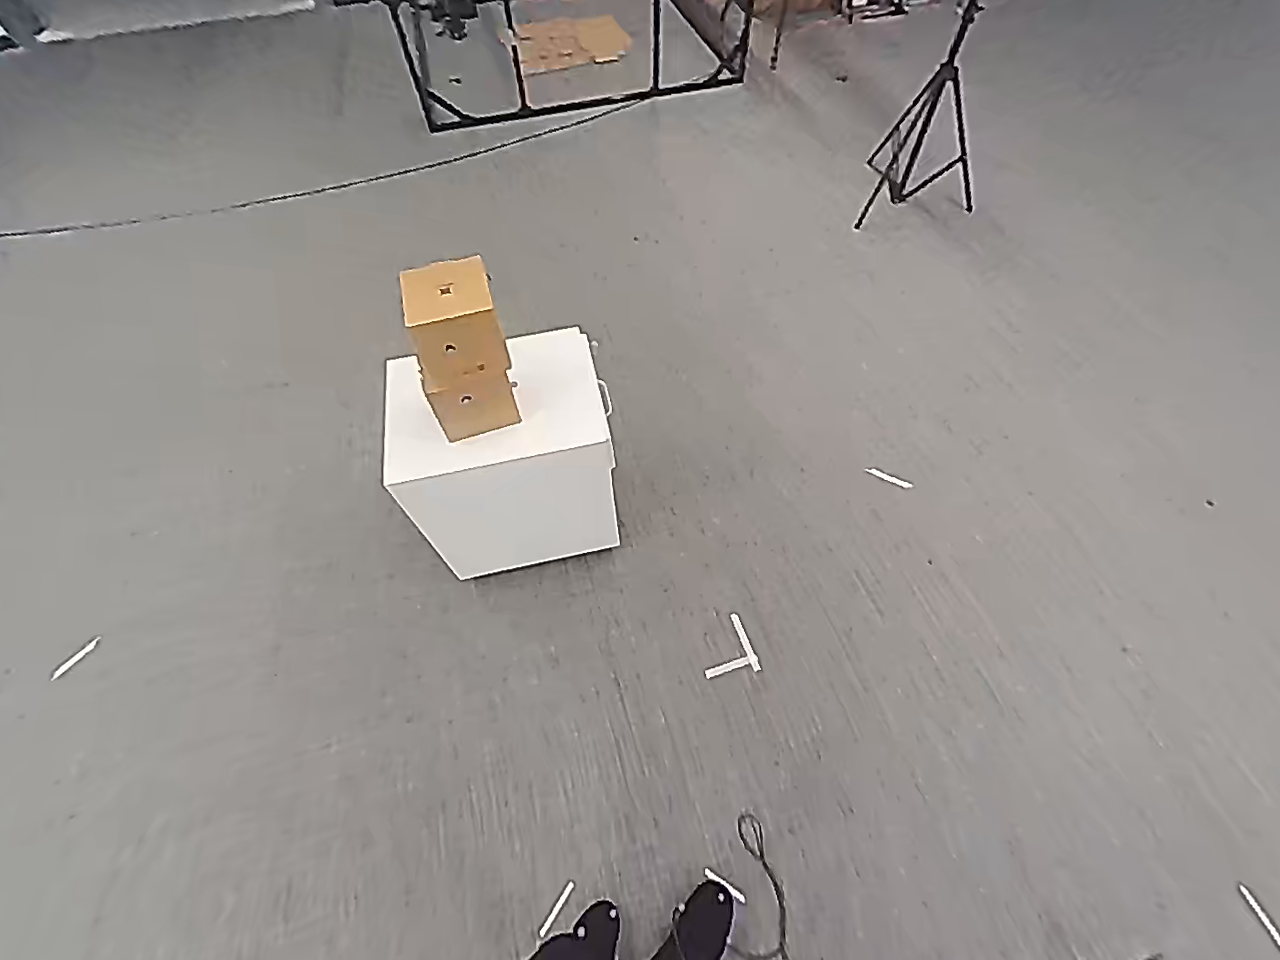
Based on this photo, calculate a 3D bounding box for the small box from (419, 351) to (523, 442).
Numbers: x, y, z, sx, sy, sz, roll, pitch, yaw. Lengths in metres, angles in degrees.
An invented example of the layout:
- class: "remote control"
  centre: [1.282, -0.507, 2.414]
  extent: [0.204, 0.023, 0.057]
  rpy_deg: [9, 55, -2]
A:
- class: "small box"
  centre: [-0.387, -0.211, 1.250]
  extent: [0.179, 0.176, 0.168]
  rpy_deg: [-17, 58, -11]

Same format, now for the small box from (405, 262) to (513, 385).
- class: "small box"
  centre: [-0.371, -0.317, 1.124]
  extent: [0.168, 0.176, 0.179]
  rpy_deg: [-15, 57, -9]
